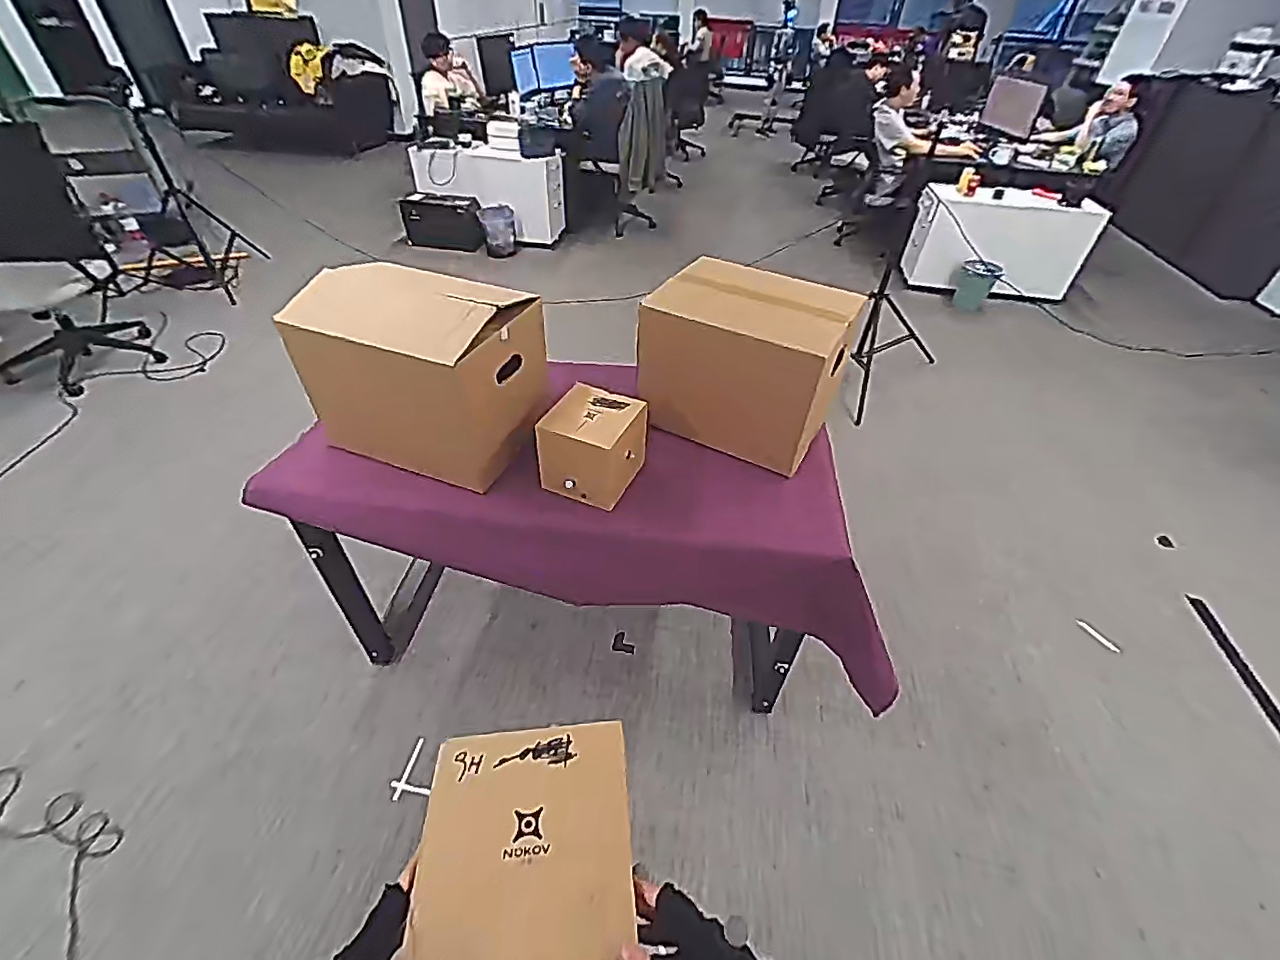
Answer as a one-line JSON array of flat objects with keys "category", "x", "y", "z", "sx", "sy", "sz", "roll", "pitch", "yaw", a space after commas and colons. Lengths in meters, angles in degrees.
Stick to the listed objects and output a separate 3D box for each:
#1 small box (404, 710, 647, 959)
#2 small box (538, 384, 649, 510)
[{"category": "small box", "x": -0.084, "y": 0.332, "z": 0.474, "sx": 0.168, "sy": 0.176, "sz": 0.179, "roll": -4, "pitch": 40, "yaw": -4}, {"category": "small box", "x": -0.093, "y": -0.070, "z": 1.127, "sx": 0.168, "sy": 0.176, "sz": 0.179, "roll": 18, "pitch": 45, "yaw": 16}]
